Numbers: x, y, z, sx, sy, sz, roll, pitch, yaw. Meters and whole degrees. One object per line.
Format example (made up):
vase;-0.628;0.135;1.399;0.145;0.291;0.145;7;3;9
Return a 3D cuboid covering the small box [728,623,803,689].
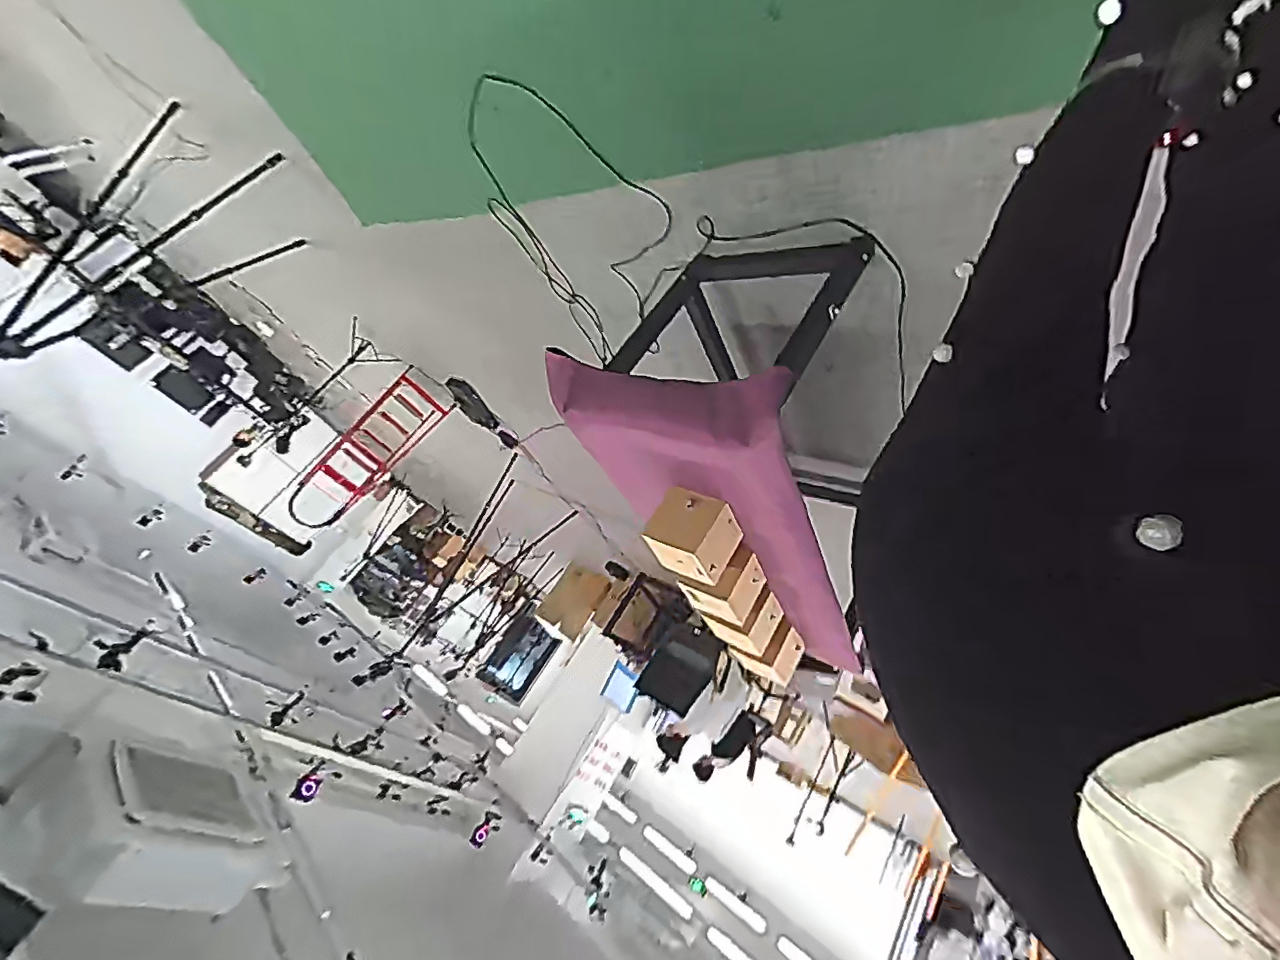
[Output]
small box;0.447;0.599;1.910;0.179;0.176;0.168;13;150;43

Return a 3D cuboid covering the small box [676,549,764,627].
small box;0.240;0.298;1.592;0.179;0.176;0.168;17;152;37

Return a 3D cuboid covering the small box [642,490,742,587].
small box;0.140;0.147;1.427;0.179;0.176;0.168;18;153;38

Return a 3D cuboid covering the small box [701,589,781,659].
small box;0.331;0.442;1.755;0.179;0.176;0.168;16;152;39
